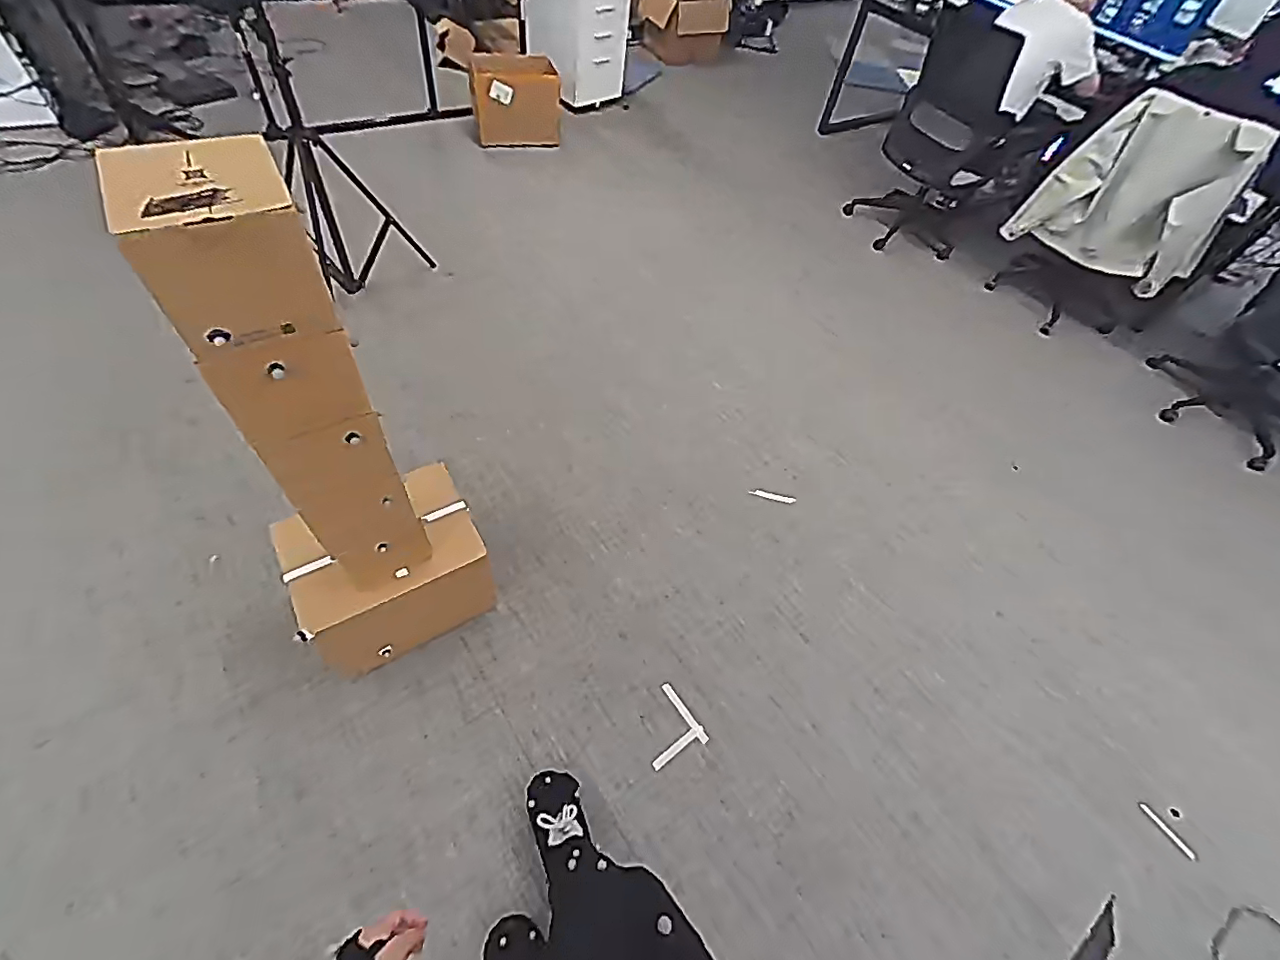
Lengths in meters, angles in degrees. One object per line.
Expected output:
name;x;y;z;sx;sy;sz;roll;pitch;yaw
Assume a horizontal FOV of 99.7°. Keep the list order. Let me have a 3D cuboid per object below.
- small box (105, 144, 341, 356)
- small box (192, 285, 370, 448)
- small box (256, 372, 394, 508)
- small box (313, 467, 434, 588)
small box;-0.493;-0.273;0.660;0.168;0.176;0.179;-23;61;-23
small box;-0.517;-0.176;0.791;0.179;0.176;0.168;-23;62;-23
small box;-0.537;-0.082;0.921;0.179;0.176;0.168;-23;61;-23
small box;-0.577;0.109;1.186;0.179;0.176;0.168;-26;64;-26
